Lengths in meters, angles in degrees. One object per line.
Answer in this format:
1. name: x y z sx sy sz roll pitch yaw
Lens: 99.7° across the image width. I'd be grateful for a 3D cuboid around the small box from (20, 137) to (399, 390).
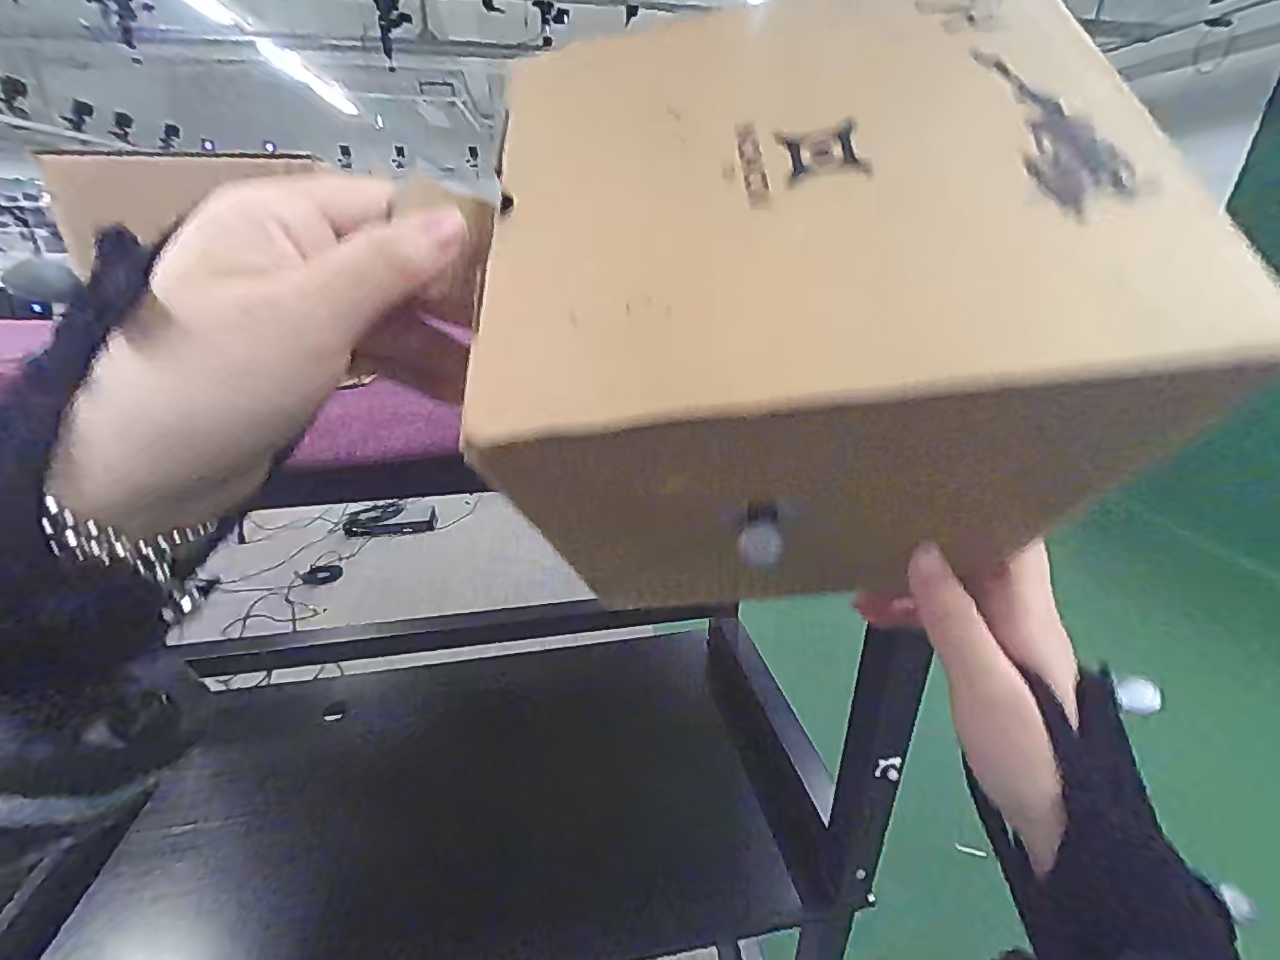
1. small box: -0.327 -0.176 0.461 0.179 0.176 0.168 -5 23 -10
